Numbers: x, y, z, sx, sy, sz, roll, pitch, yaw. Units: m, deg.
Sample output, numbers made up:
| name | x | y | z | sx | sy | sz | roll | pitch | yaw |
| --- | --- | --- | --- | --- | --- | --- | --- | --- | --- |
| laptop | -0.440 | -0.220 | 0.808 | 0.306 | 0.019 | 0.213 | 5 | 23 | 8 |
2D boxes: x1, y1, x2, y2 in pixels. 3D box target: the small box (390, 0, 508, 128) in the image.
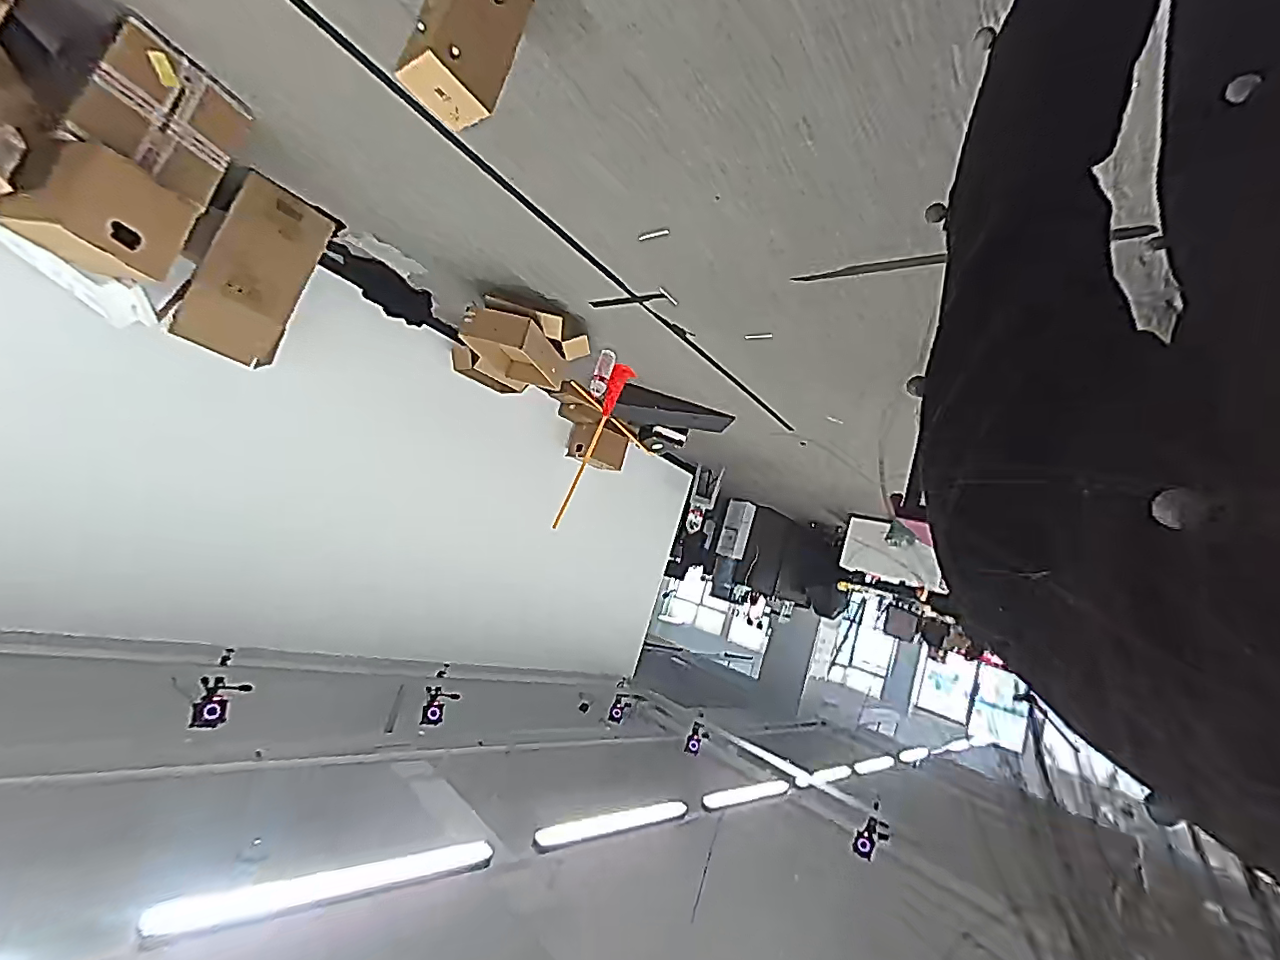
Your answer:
| name | x | y | z | sx | sy | sz | roll | pitch | yaw |
| --- | --- | --- | --- | --- | --- | --- | --- | --- | --- |
| small box | -0.446 | -0.988 | 1.276 | 0.168 | 0.176 | 0.179 | 12 | 171 | 39 |
